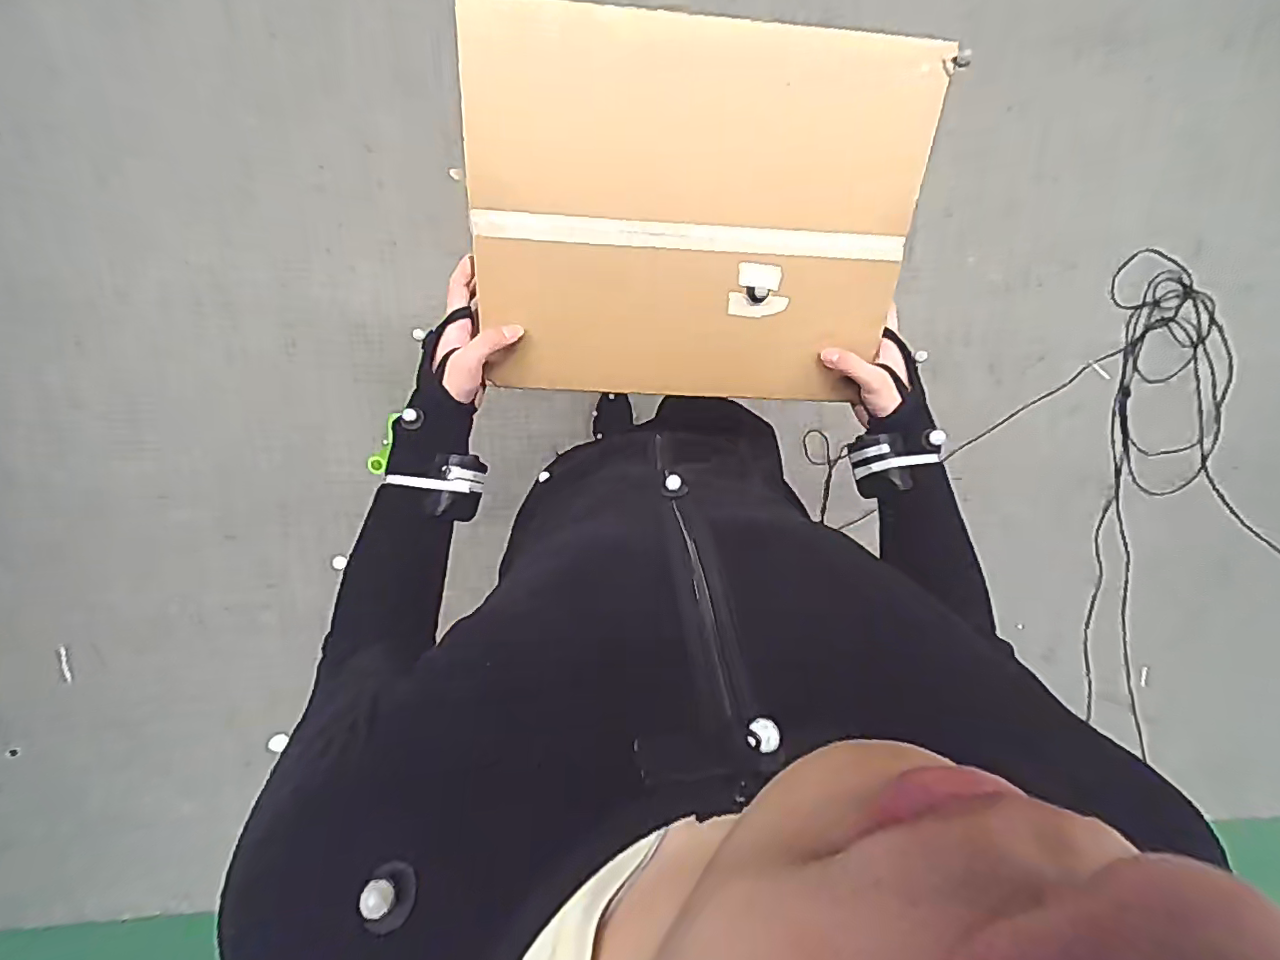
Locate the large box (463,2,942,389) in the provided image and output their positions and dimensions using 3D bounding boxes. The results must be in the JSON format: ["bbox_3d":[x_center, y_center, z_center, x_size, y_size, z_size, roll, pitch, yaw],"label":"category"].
[{"bbox_3d":[0.039,-0.305,0.637,0.408,0.320,0.320,1,119,-5],"label":"large box"}]

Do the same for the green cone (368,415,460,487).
[{"bbox_3d":[-0.613,-0.052,1.394,0.200,0.368,0.202,4,100,-5],"label":"green cone"}]
